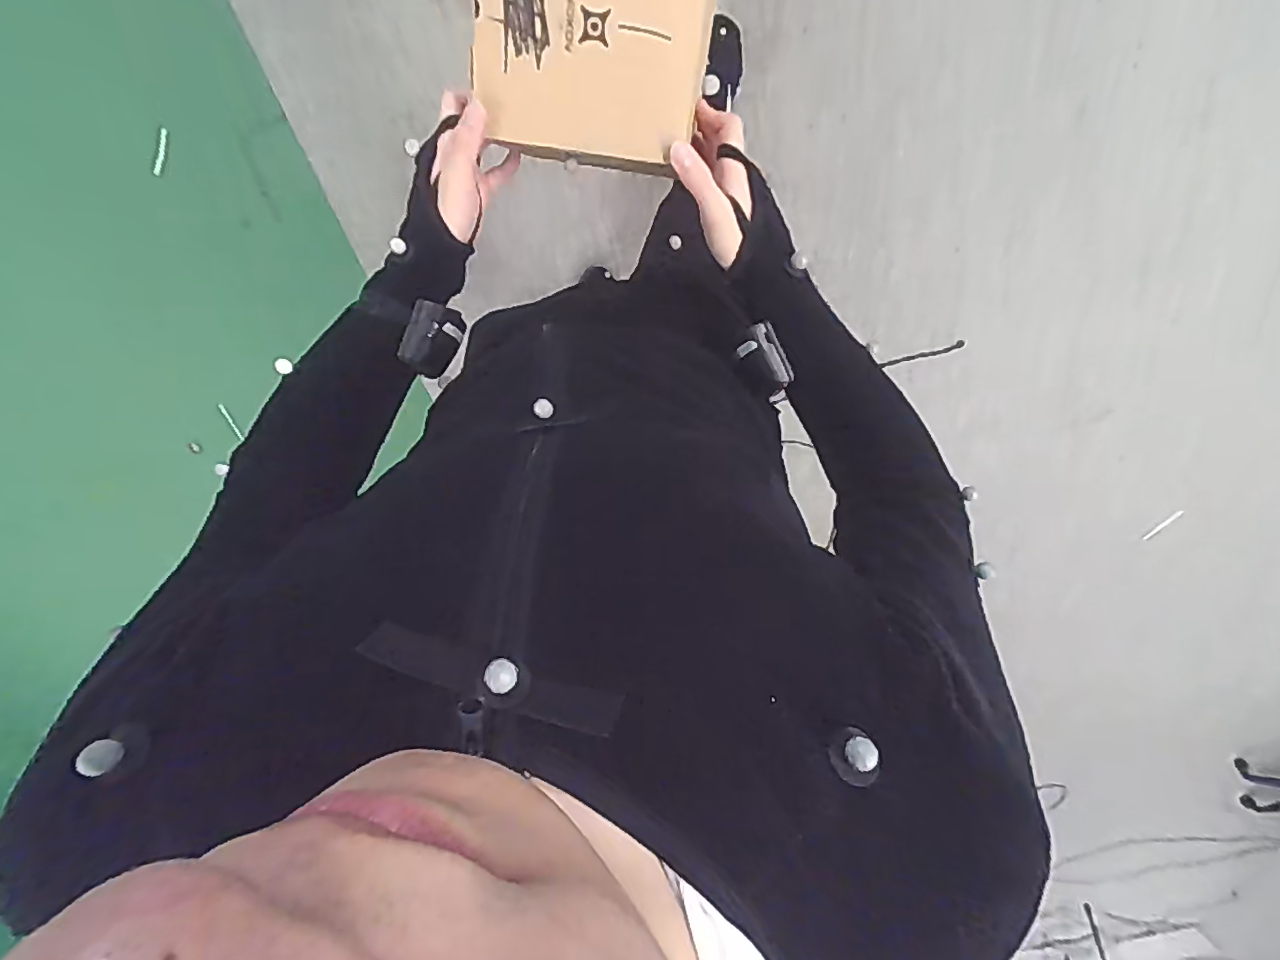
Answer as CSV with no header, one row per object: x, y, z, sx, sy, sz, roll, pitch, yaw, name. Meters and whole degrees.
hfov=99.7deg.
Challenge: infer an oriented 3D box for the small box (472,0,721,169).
-0.028,-0.374,0.461,0.179,0.176,0.168,9,117,2,small box
